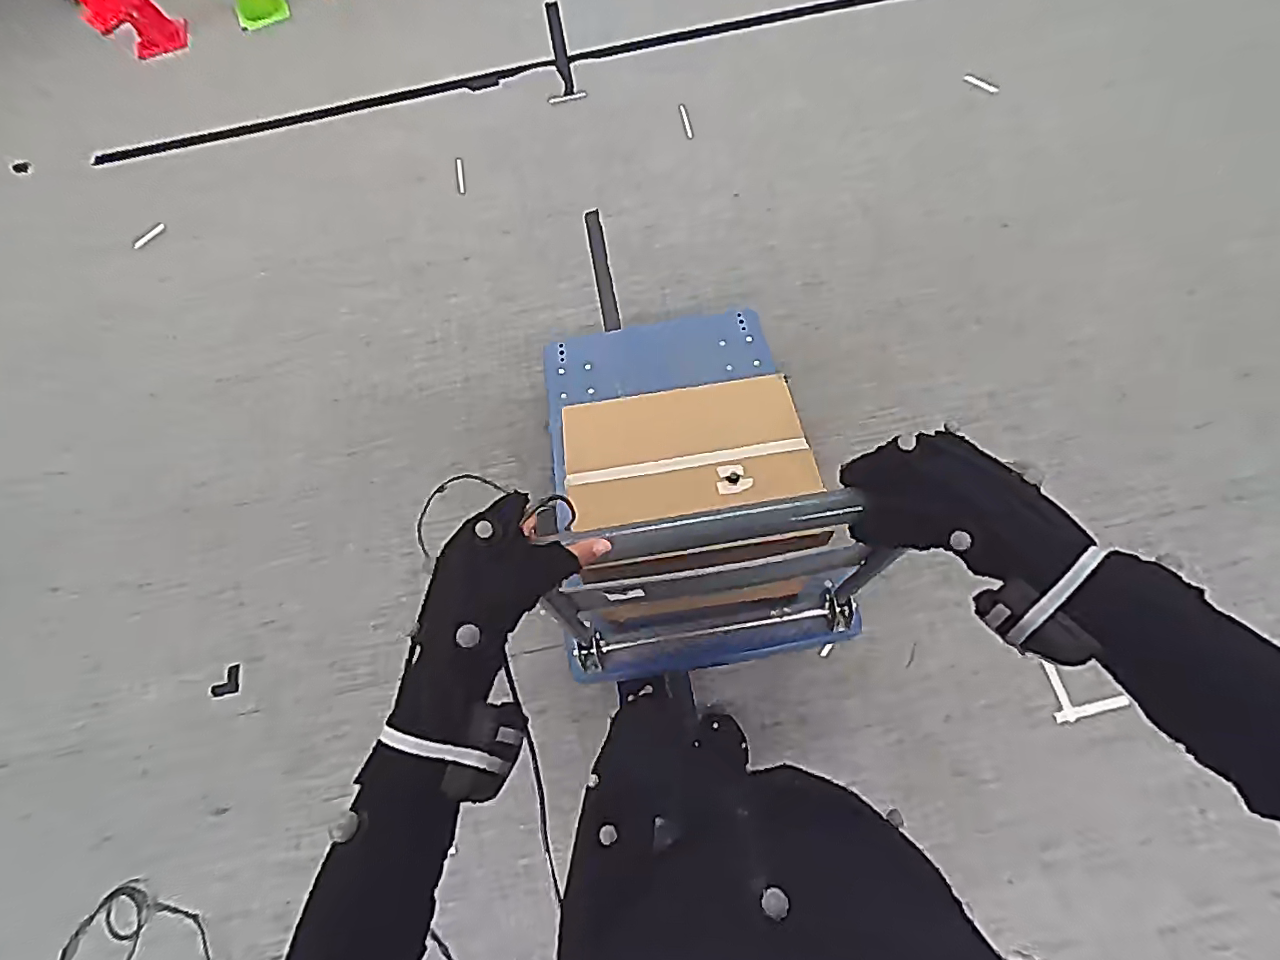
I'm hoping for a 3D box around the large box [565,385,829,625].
[{"bbox_3d":[0.088,0.061,1.042,0.408,0.320,0.320,-9,61,-1],"label":"large box"}]
